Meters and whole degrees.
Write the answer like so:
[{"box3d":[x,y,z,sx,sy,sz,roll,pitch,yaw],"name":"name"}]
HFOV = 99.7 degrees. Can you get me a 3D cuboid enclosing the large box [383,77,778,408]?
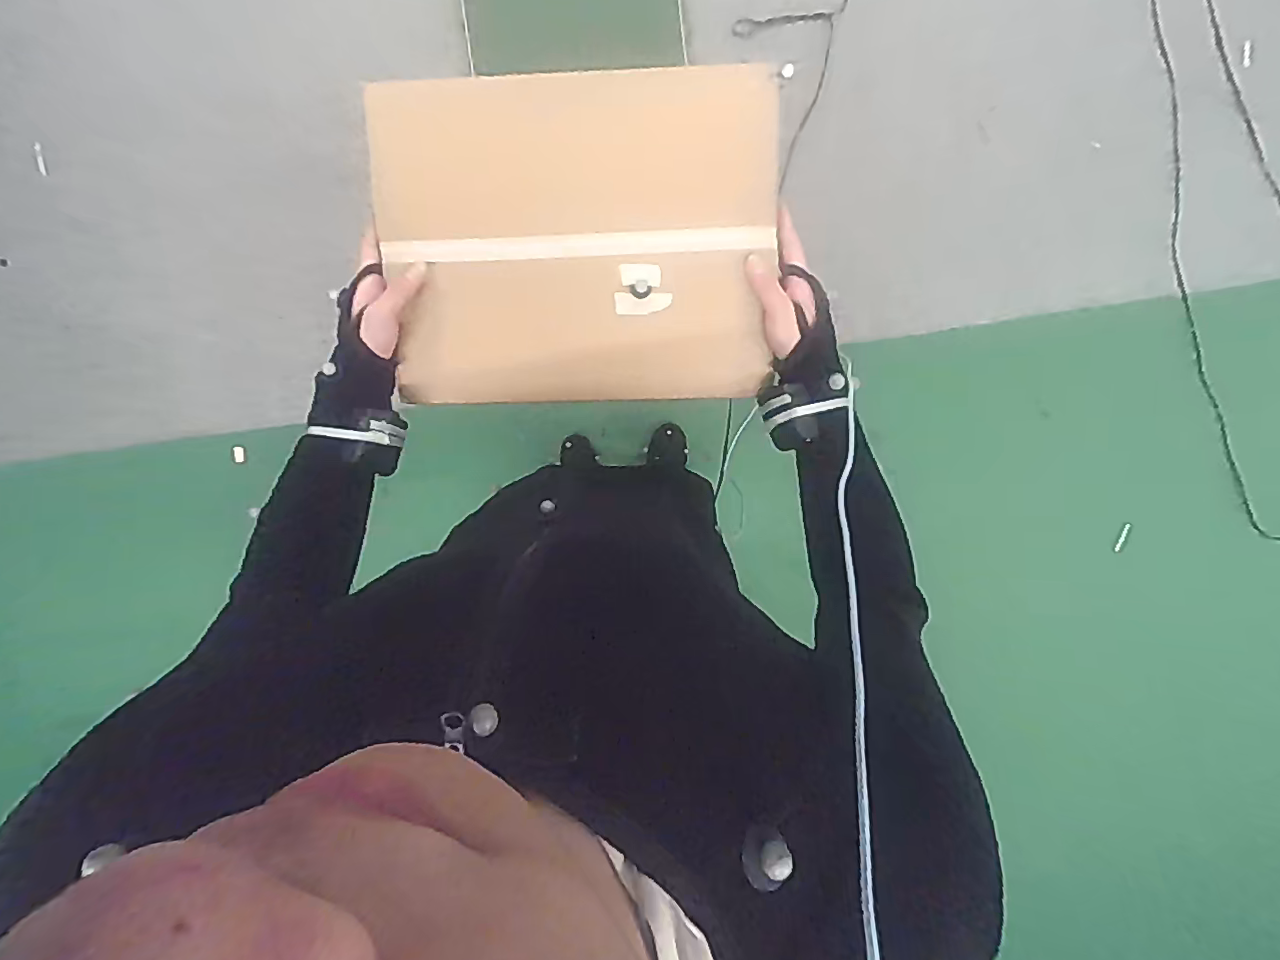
[{"box3d":[-0.054,-0.267,0.710,0.408,0.320,0.320,-1,102,2],"name":"large box"}]
